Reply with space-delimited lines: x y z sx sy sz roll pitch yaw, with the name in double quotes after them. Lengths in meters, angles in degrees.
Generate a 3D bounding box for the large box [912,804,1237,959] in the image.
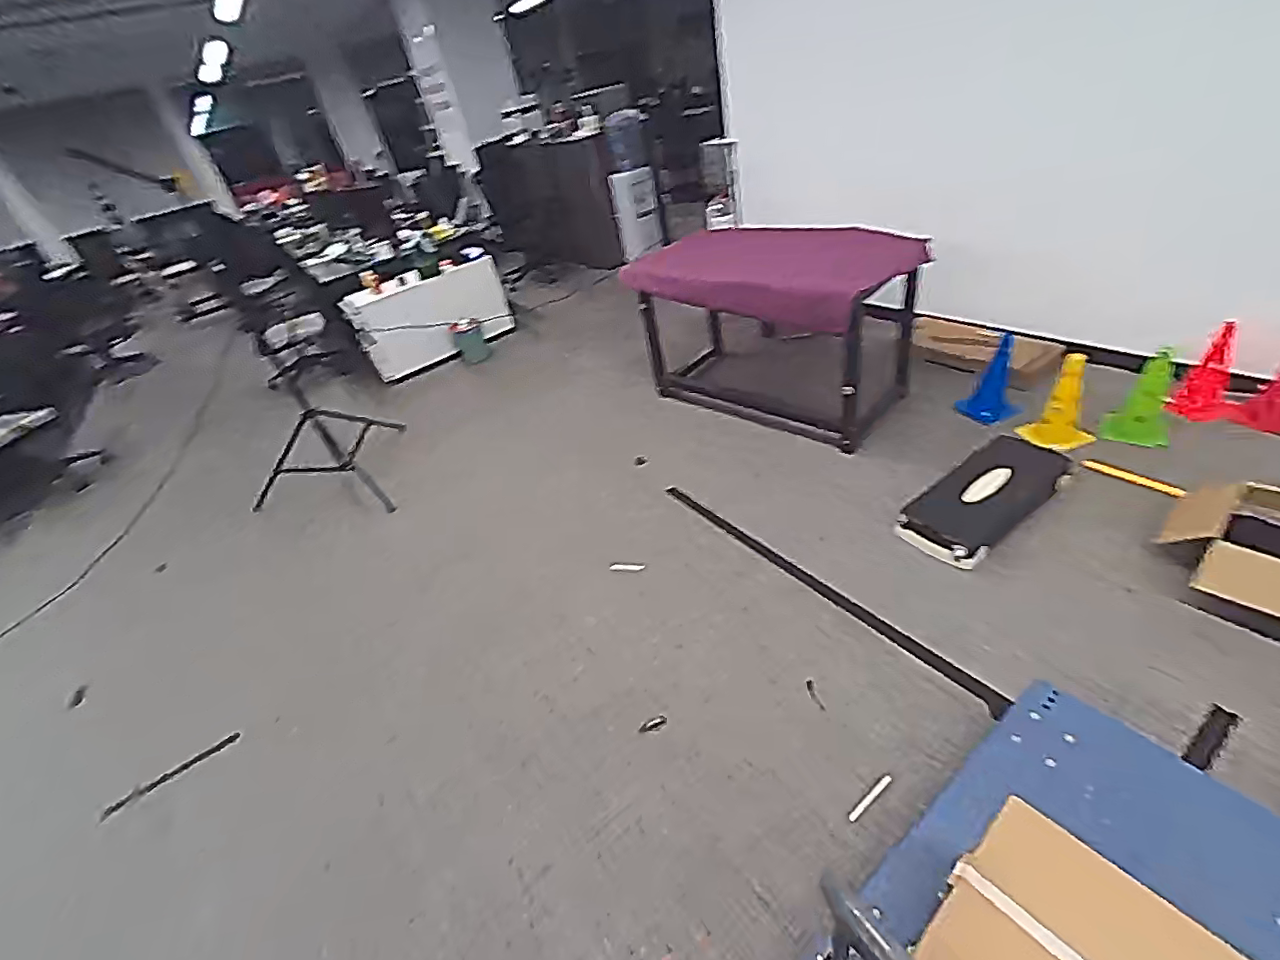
0.638 0.786 0.773 0.320 0.320 0.408 -34 43 -25 "large box"
